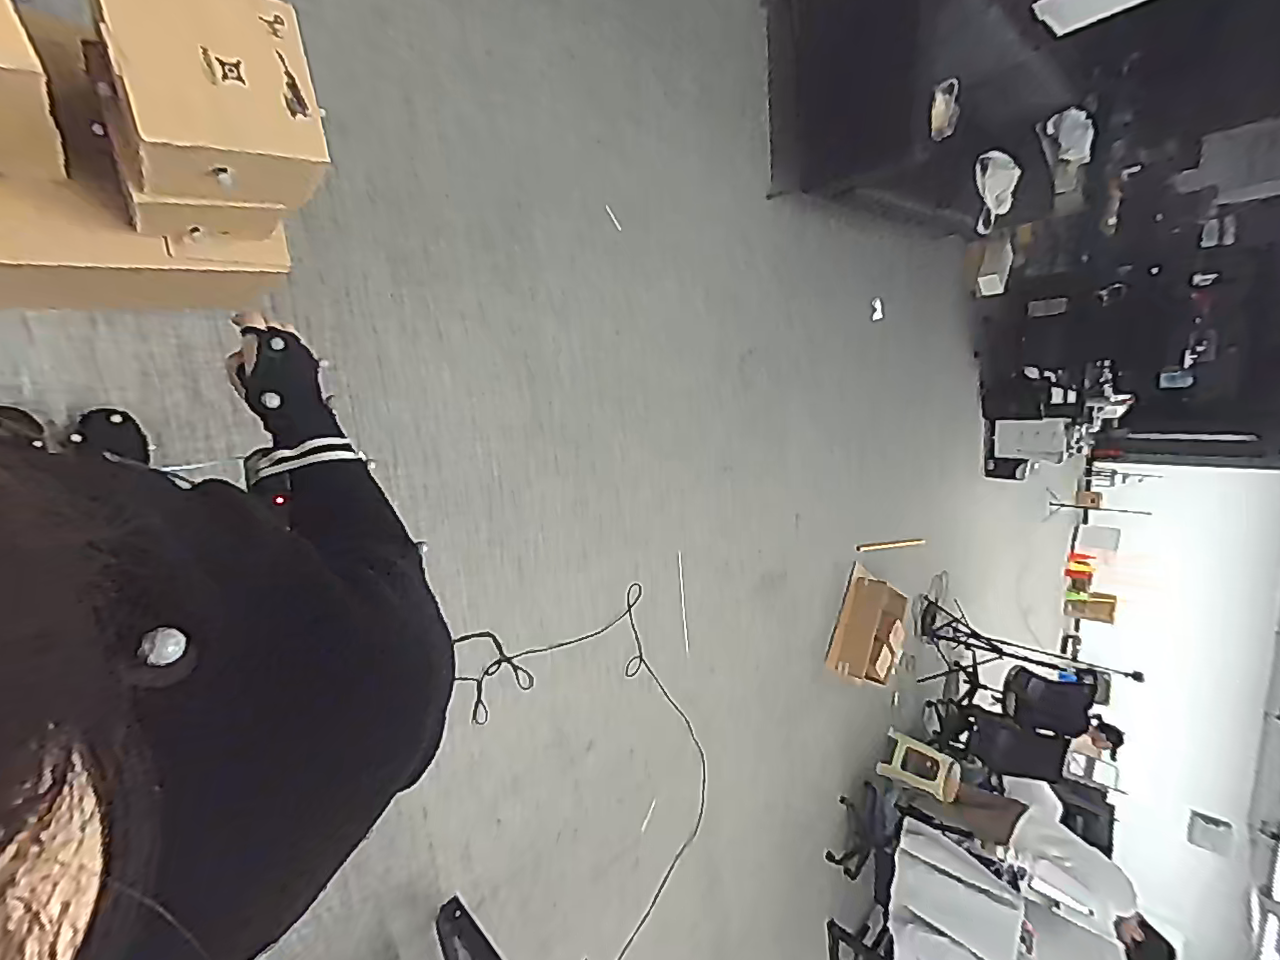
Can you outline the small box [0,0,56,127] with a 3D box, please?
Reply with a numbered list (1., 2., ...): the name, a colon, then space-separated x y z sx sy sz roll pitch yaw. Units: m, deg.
1. small box: -0.665 -0.440 0.471 0.168 0.176 0.179 -27 115 -39
